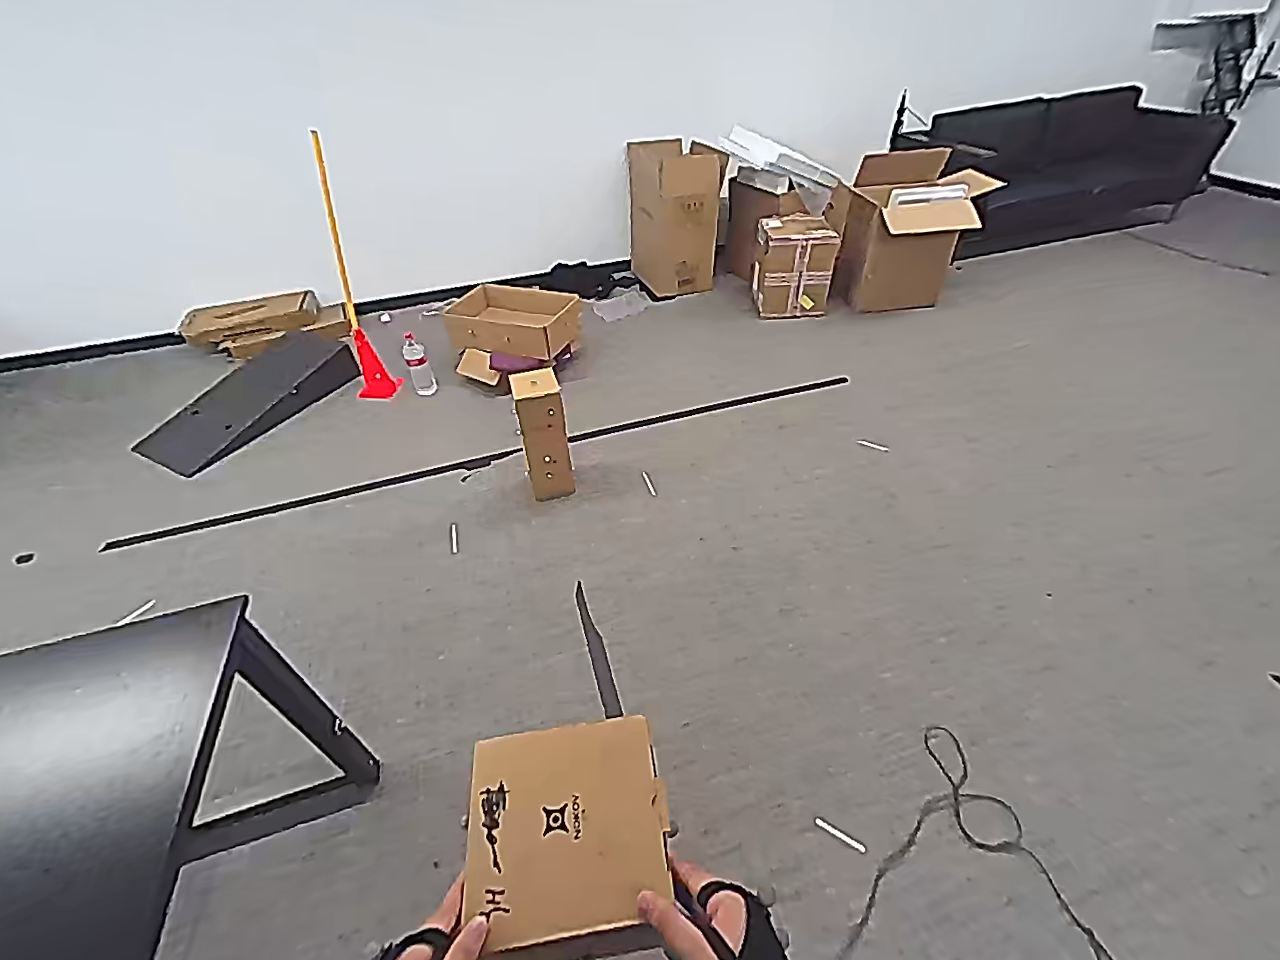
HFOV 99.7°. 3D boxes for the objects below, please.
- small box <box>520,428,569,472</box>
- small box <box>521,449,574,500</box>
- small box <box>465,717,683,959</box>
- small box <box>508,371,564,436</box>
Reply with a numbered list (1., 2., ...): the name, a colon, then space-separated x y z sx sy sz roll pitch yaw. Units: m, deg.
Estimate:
1. small box: -0.382 -0.156 2.122 0.168 0.176 0.179 -13 43 -11
2. small box: -0.380 -0.036 2.235 0.179 0.176 0.168 -13 43 -12
3. small box: -0.060 0.362 0.539 0.179 0.176 0.168 -6 42 -5
4. small box: -0.386 -0.279 2.016 0.168 0.176 0.179 -13 42 -13
